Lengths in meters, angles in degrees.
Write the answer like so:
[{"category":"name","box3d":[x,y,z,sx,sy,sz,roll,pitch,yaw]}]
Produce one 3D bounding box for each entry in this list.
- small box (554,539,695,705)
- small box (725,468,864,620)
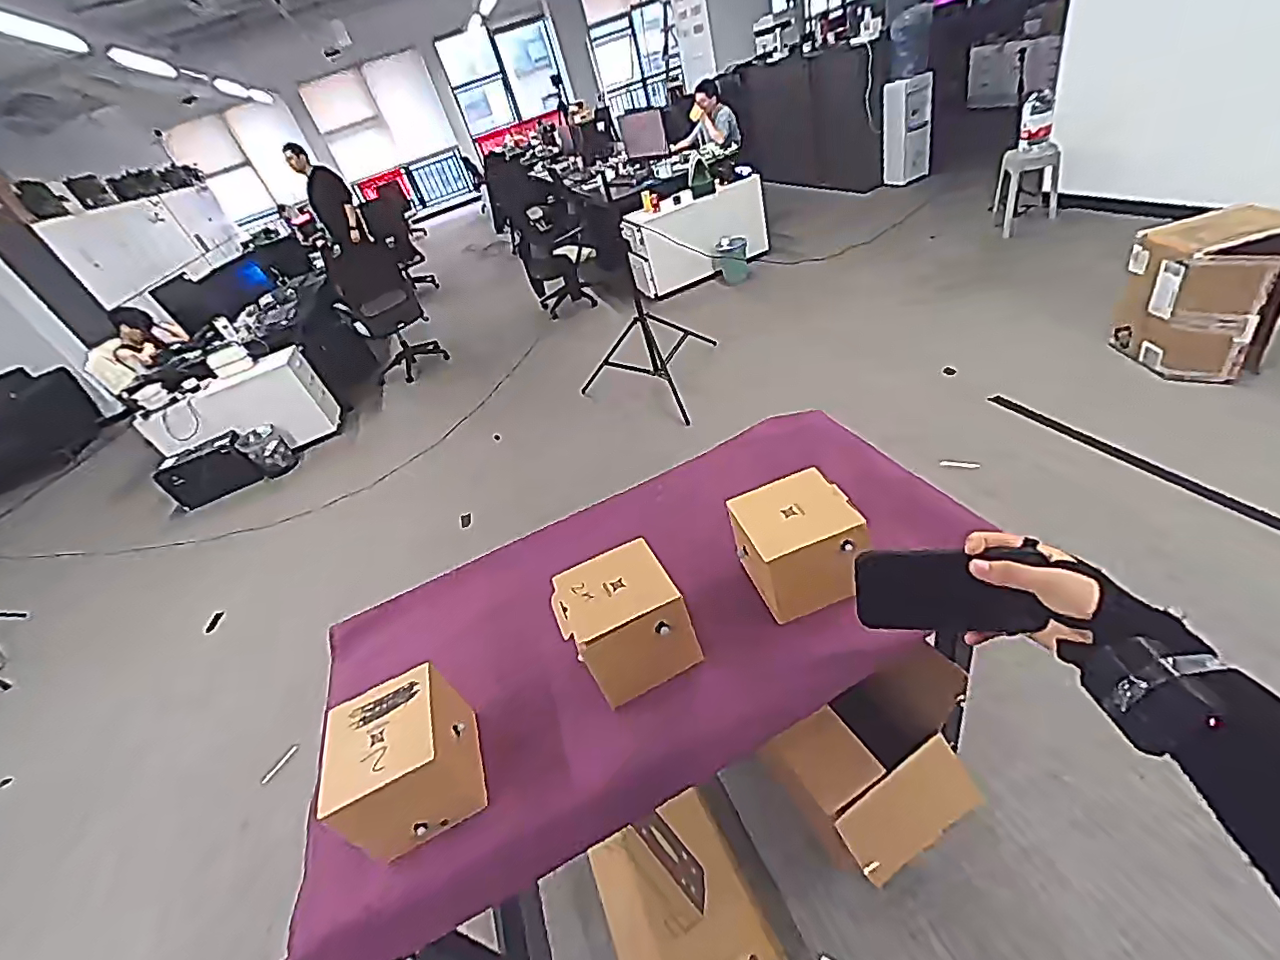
[{"category":"small box","box3d":[-0.020,0.238,0.913,0.179,0.176,0.168,-26,35,-9]},{"category":"small box","box3d":[0.271,0.113,0.942,0.179,0.176,0.168,-22,37,-3]}]
